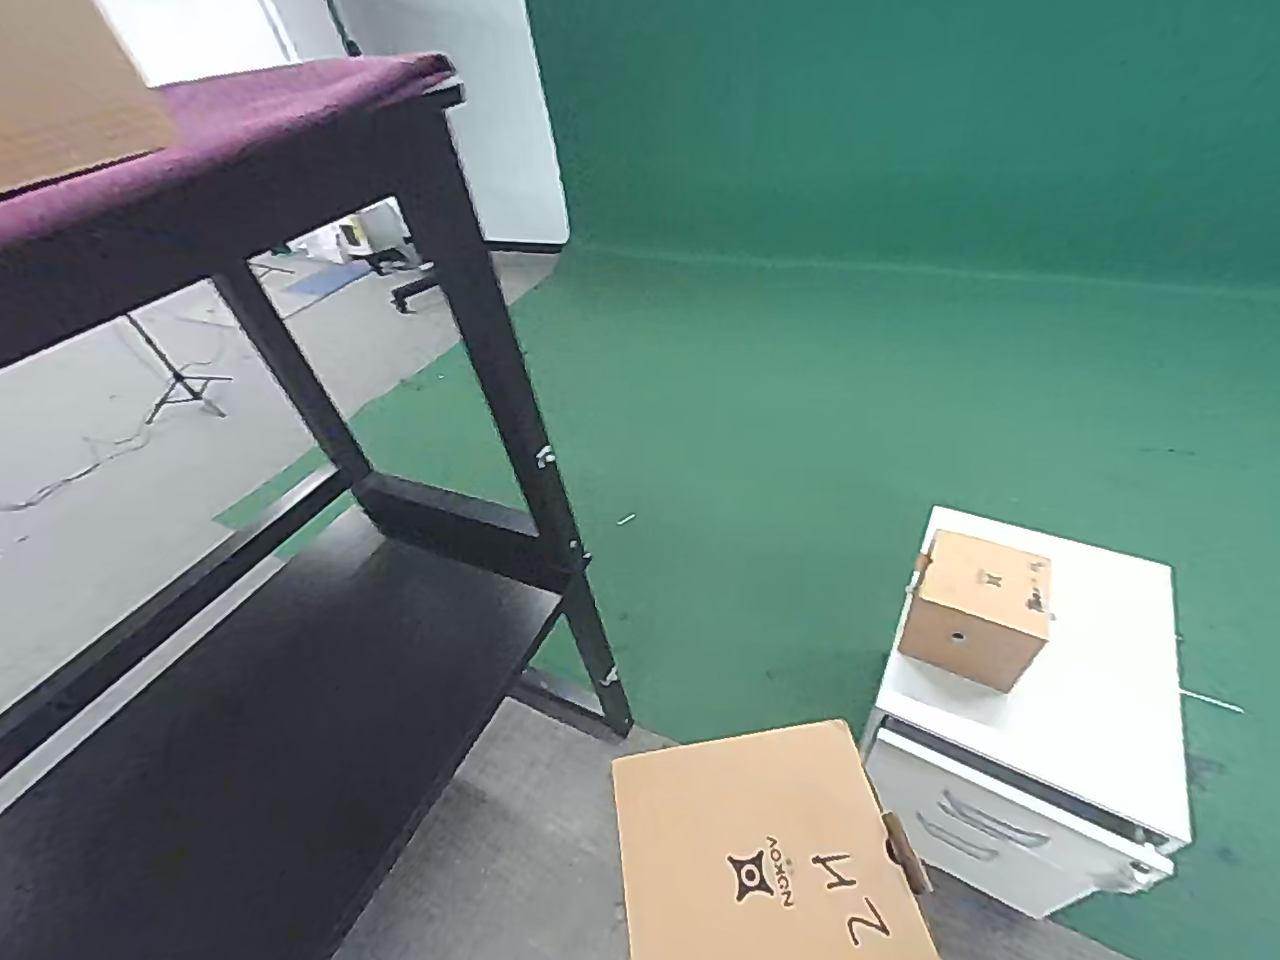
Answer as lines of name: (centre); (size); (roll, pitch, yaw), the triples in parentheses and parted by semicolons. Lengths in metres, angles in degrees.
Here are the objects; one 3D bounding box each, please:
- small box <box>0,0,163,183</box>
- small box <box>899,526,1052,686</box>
small box: (-0.479, -0.282, 0.344); (0.168, 0.176, 0.179); (11, 46, 25)
small box: (0.549, 0.210, 0.900); (0.179, 0.176, 0.168); (17, 49, 26)
